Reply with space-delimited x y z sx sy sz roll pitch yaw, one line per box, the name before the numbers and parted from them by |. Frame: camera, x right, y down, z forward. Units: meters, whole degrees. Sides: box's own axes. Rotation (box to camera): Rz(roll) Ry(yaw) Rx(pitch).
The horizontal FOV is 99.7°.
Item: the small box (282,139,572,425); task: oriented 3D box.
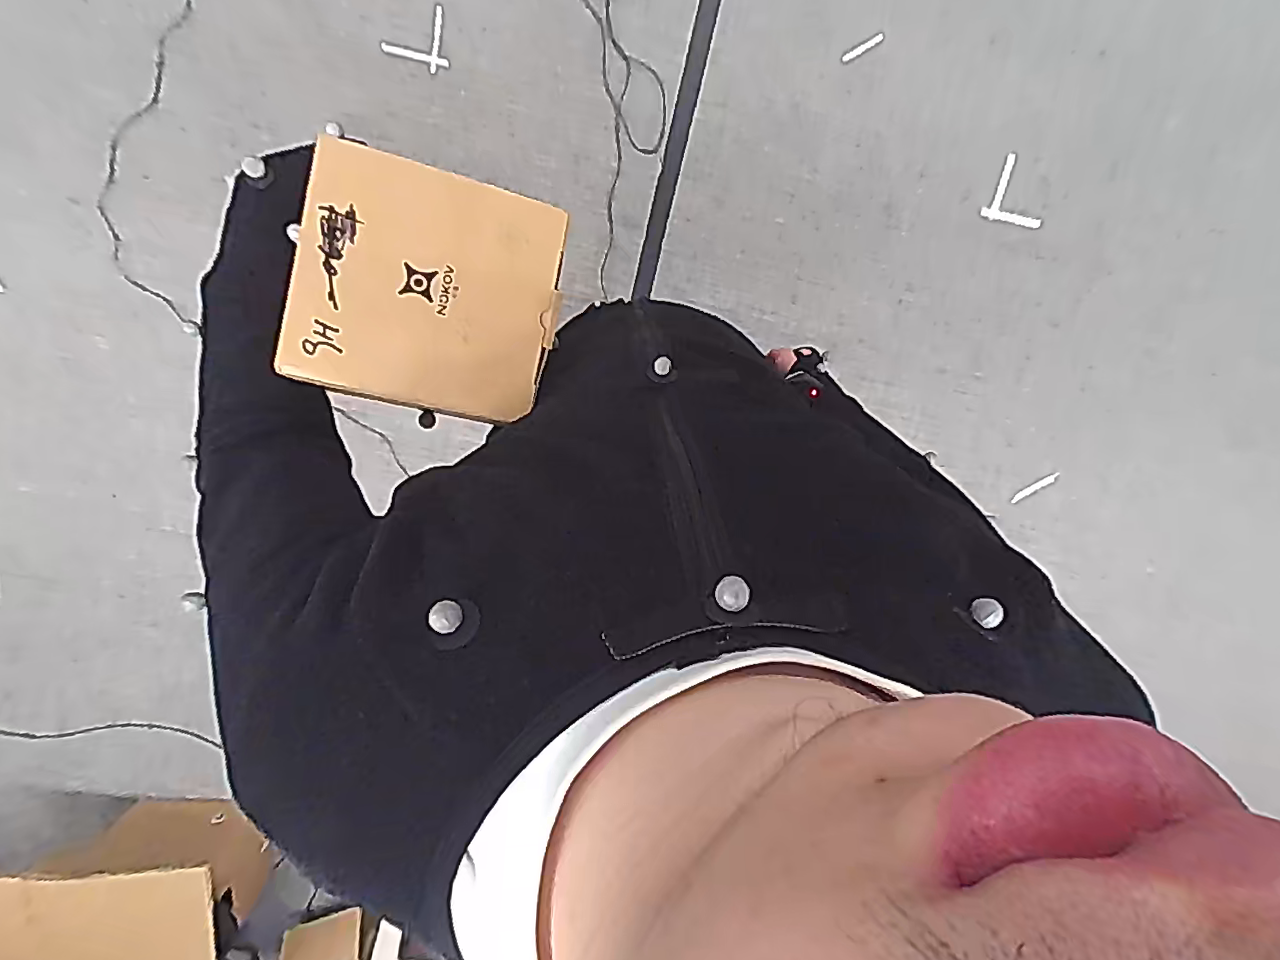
small box | -0.173 -0.146 0.472 0.179 0.176 0.168 11 90 -17
